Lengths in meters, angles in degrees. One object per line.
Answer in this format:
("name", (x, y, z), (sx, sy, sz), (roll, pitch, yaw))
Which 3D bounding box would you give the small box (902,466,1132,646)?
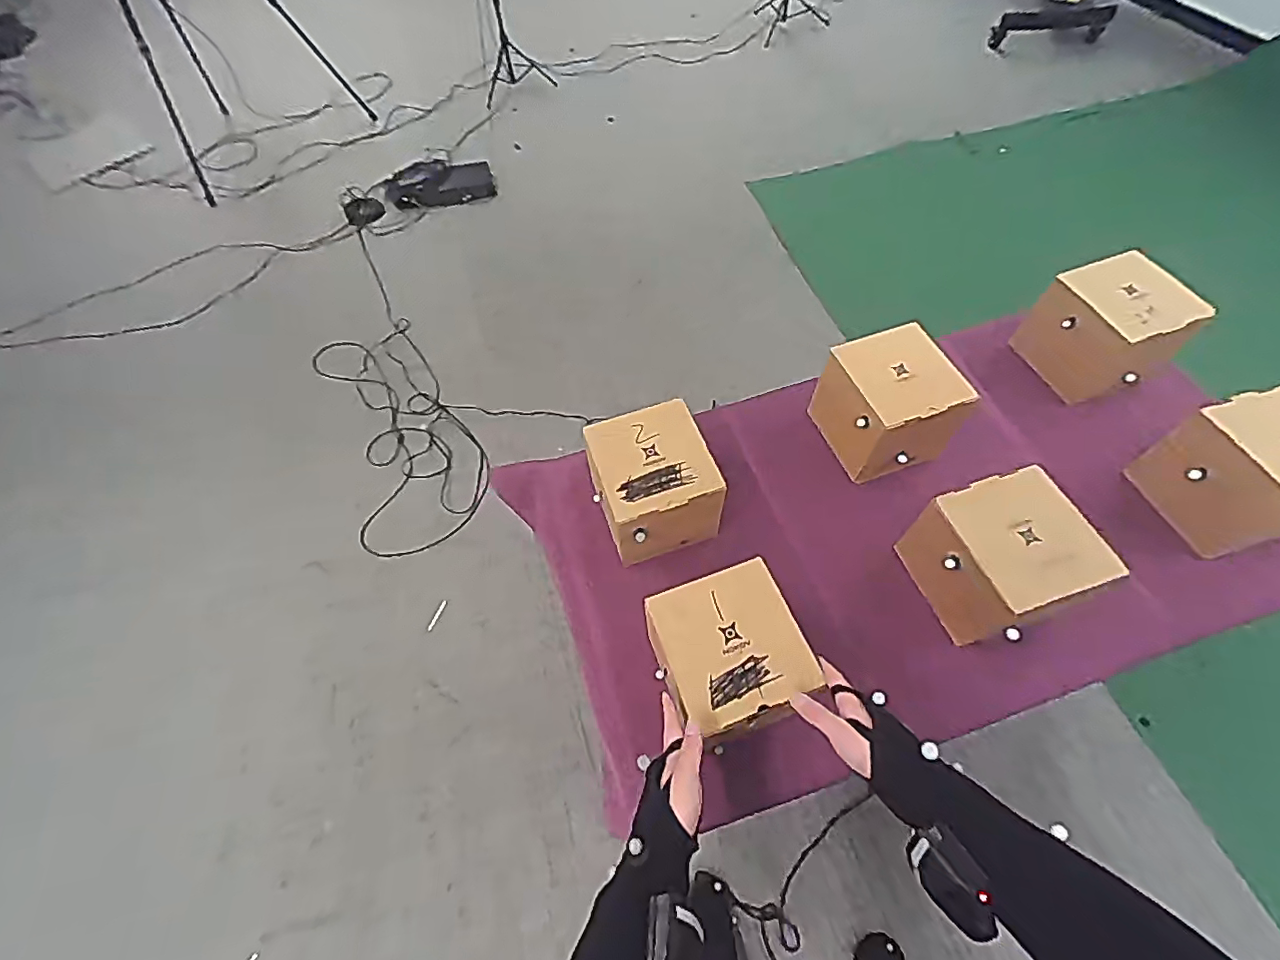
("small box", (0.510, 0.111, 0.769), (0.168, 0.176, 0.179), (-16, 59, -6))

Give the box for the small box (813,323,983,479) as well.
("small box", (0.419, -0.130, 0.917), (0.168, 0.176, 0.179), (-18, 61, -8))

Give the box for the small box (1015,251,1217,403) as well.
("small box", (0.834, -0.271, 0.974), (0.168, 0.176, 0.179), (-19, 61, -5))

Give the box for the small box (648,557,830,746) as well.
("small box", (0.118, 0.233, 0.712), (0.168, 0.176, 0.179), (-18, 58, -9))

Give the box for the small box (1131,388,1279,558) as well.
("small box", (0.920, -0.009, 0.817), (0.168, 0.176, 0.179), (-15, 57, -5))
